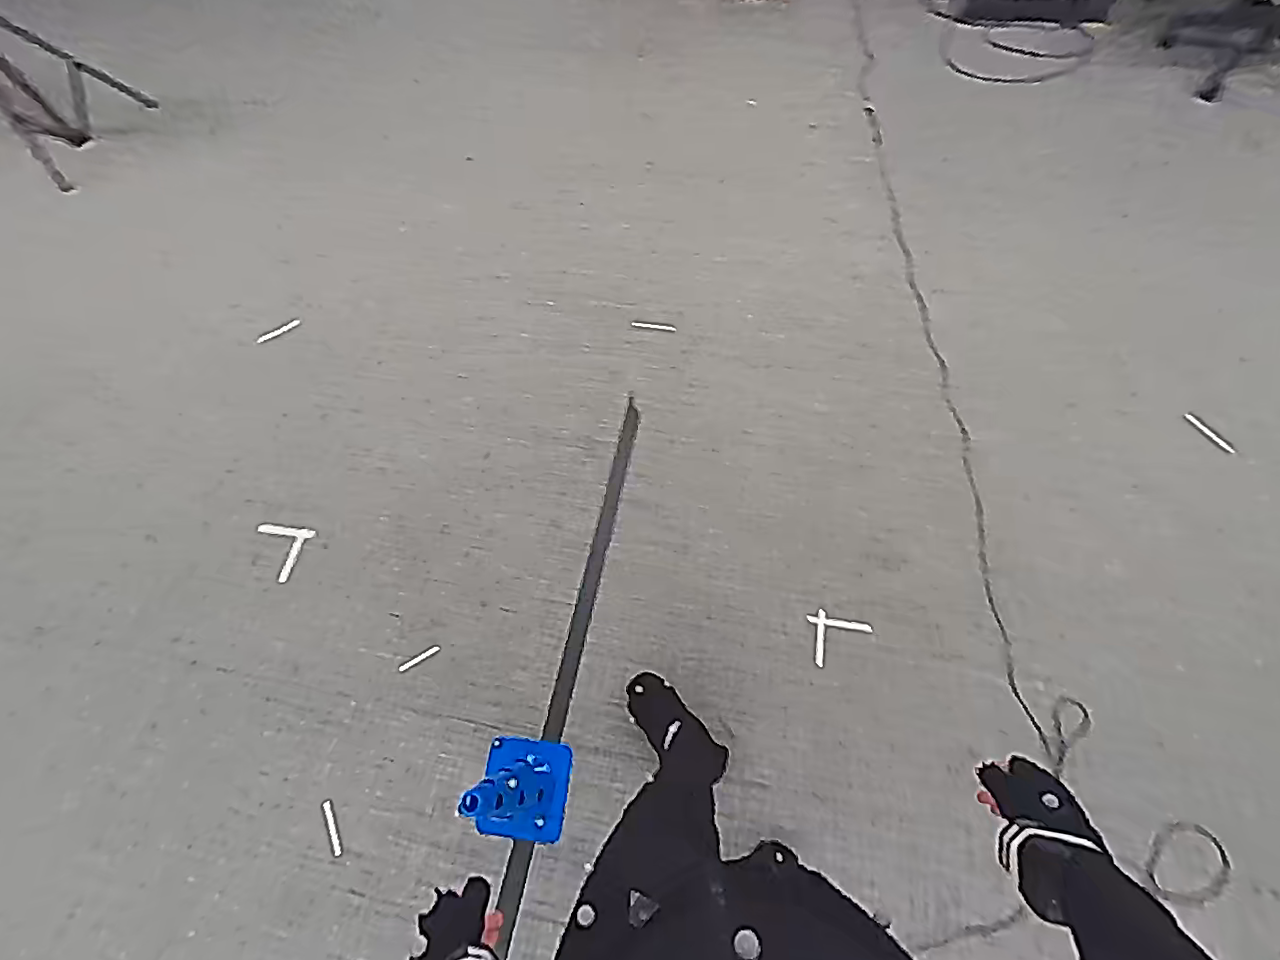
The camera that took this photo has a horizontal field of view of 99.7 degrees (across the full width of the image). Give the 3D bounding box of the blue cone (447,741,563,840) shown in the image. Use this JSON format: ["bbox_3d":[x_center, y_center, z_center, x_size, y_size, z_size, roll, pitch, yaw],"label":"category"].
[{"bbox_3d":[-0.291,0.639,1.096,0.192,0.380,0.193,5,64,8],"label":"blue cone"}]
